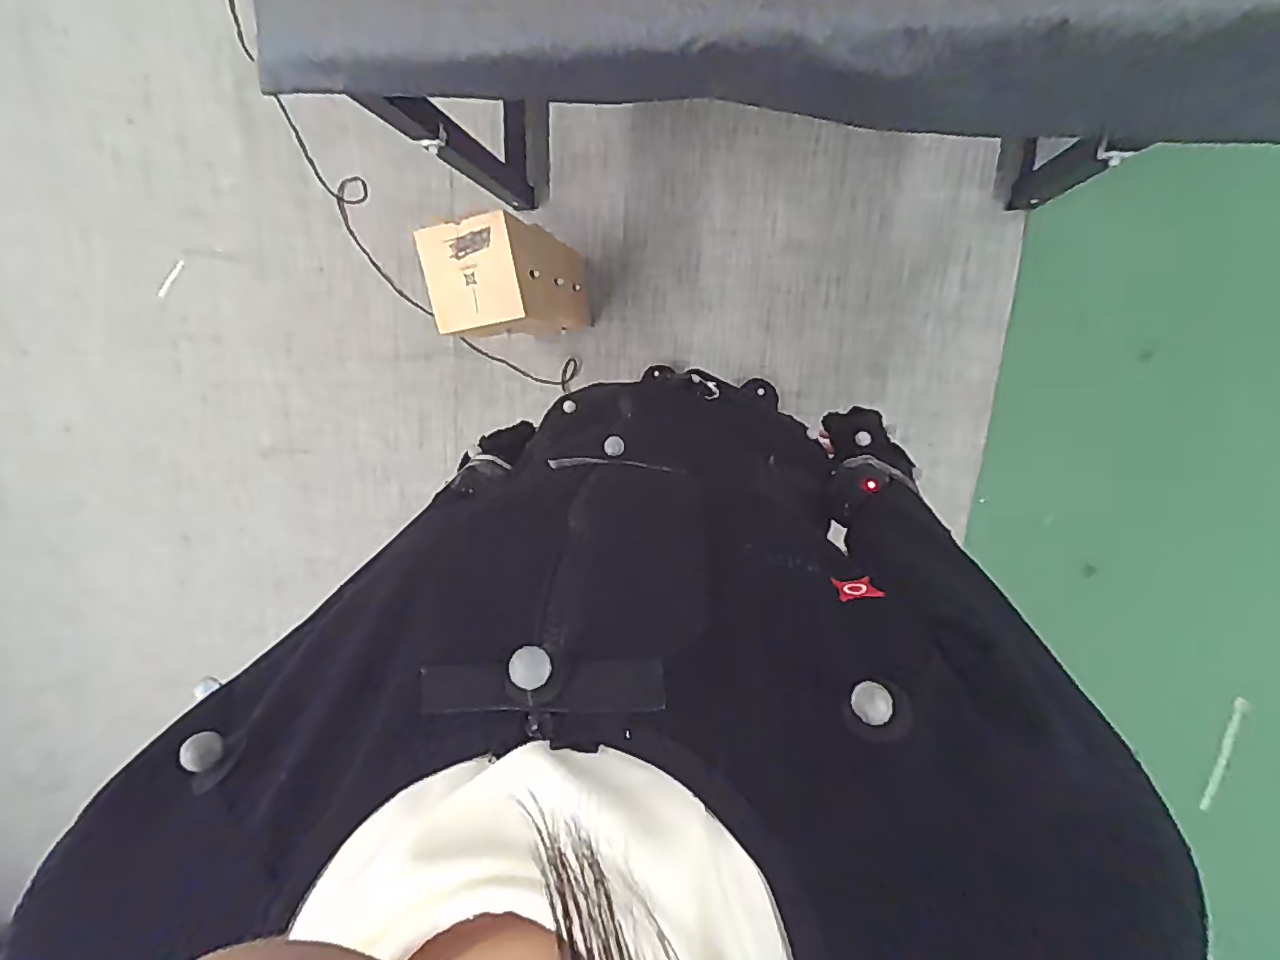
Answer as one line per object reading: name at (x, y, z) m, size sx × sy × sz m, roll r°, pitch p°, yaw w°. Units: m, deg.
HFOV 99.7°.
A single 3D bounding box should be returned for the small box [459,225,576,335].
small box at (-0.250, -0.414, 1.151) m, size 0.168 × 0.176 × 0.179 m, roll -11°, pitch 99°, yaw 14°
